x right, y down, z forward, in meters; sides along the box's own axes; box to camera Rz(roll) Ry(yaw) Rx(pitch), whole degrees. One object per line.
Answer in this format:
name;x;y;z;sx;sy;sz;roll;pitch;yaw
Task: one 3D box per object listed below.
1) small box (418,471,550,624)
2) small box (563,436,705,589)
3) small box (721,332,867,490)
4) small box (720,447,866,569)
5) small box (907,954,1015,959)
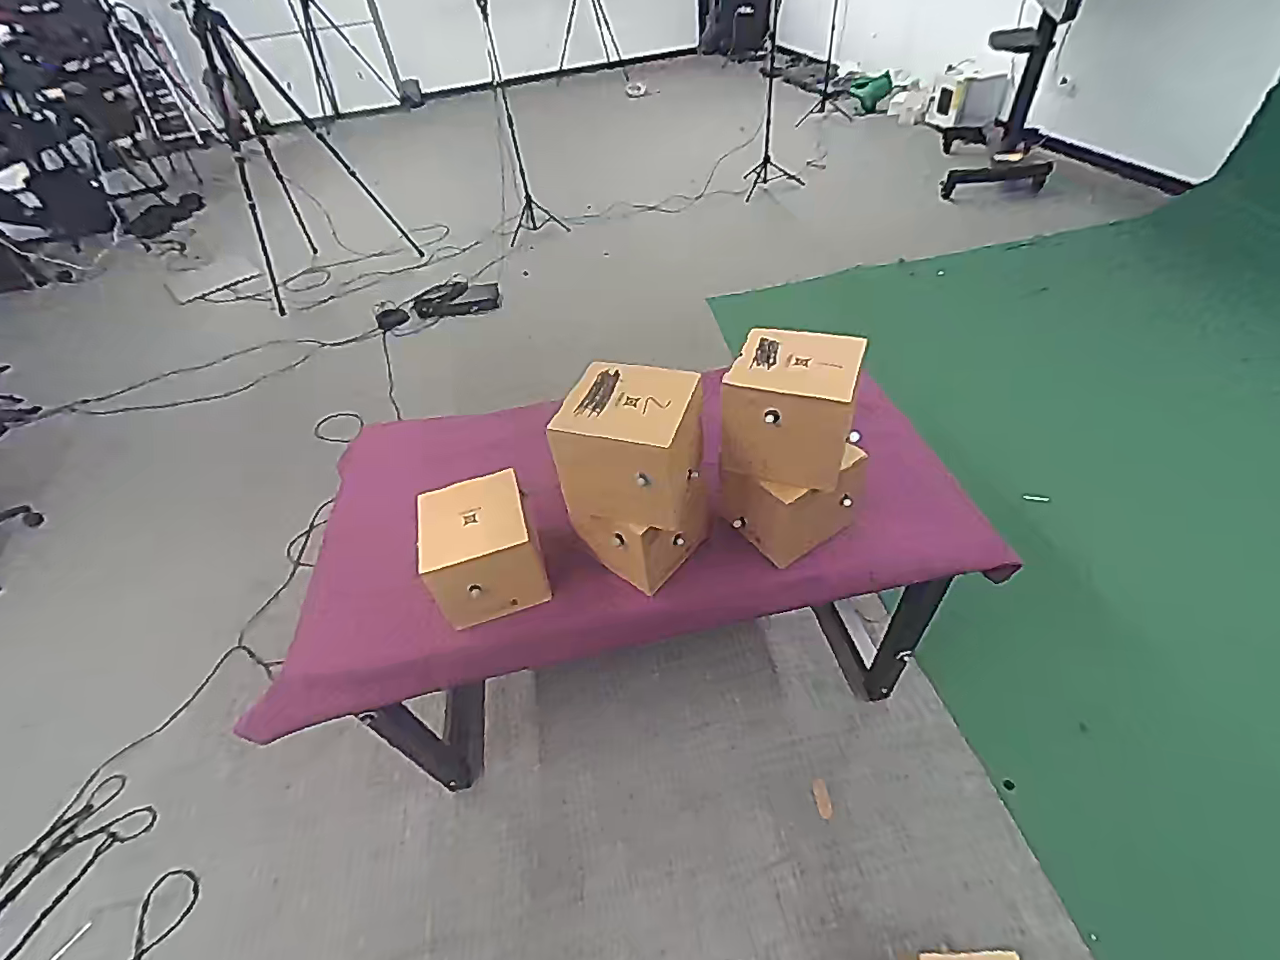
small box;-0.260;0.119;0.910;0.168;0.176;0.179;-17;44;-9
small box;-0.003;0.060;0.929;0.179;0.176;0.168;29;55;31
small box;0.232;-0.106;0.832;0.179;0.176;0.168;13;47;21
small box;0.254;0.018;0.937;0.179;0.176;0.168;-28;47;-18
small box;0.595;0.974;0.978;0.179;0.176;0.168;-5;46;4
